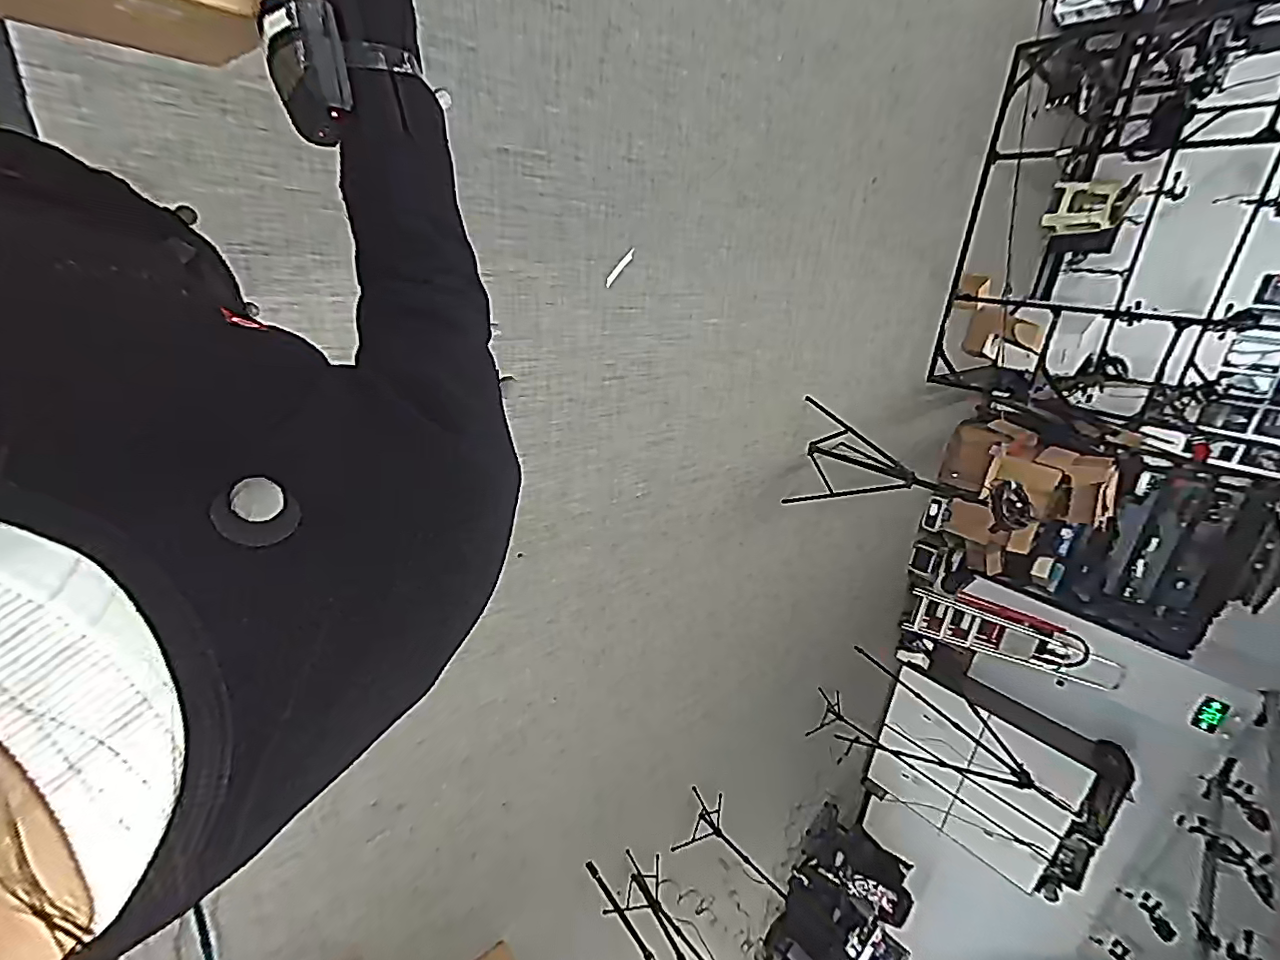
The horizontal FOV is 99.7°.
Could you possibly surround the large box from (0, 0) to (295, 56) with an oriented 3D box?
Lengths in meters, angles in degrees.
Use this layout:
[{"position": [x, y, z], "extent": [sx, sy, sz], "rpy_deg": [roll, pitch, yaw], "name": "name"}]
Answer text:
[{"position": [-0.447, -0.448, 0.248], "extent": [0.408, 0.320, 0.320], "rpy_deg": [-16, 126, -40], "name": "large box"}]
